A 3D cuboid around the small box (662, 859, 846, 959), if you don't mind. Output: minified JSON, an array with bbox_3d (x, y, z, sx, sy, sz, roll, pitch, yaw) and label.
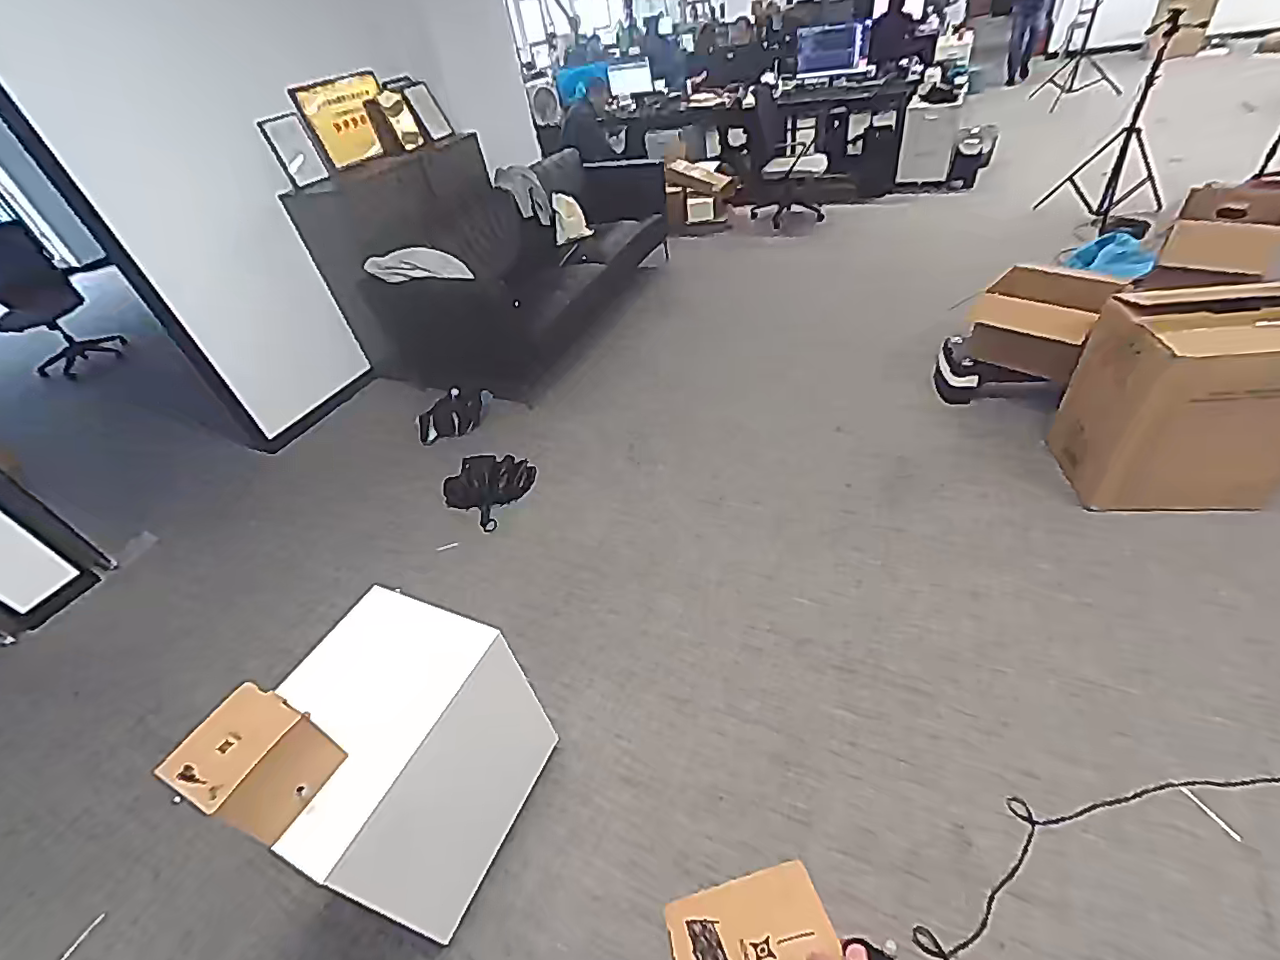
[{"bbox_3d":[0.137,0.564,0.574,0.179,0.176,0.168,-16,11,-3],"label":"small box"}]

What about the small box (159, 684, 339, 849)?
[{"bbox_3d":[-0.674,0.507,0.961,0.168,0.176,0.179,12,44,25],"label":"small box"}]
